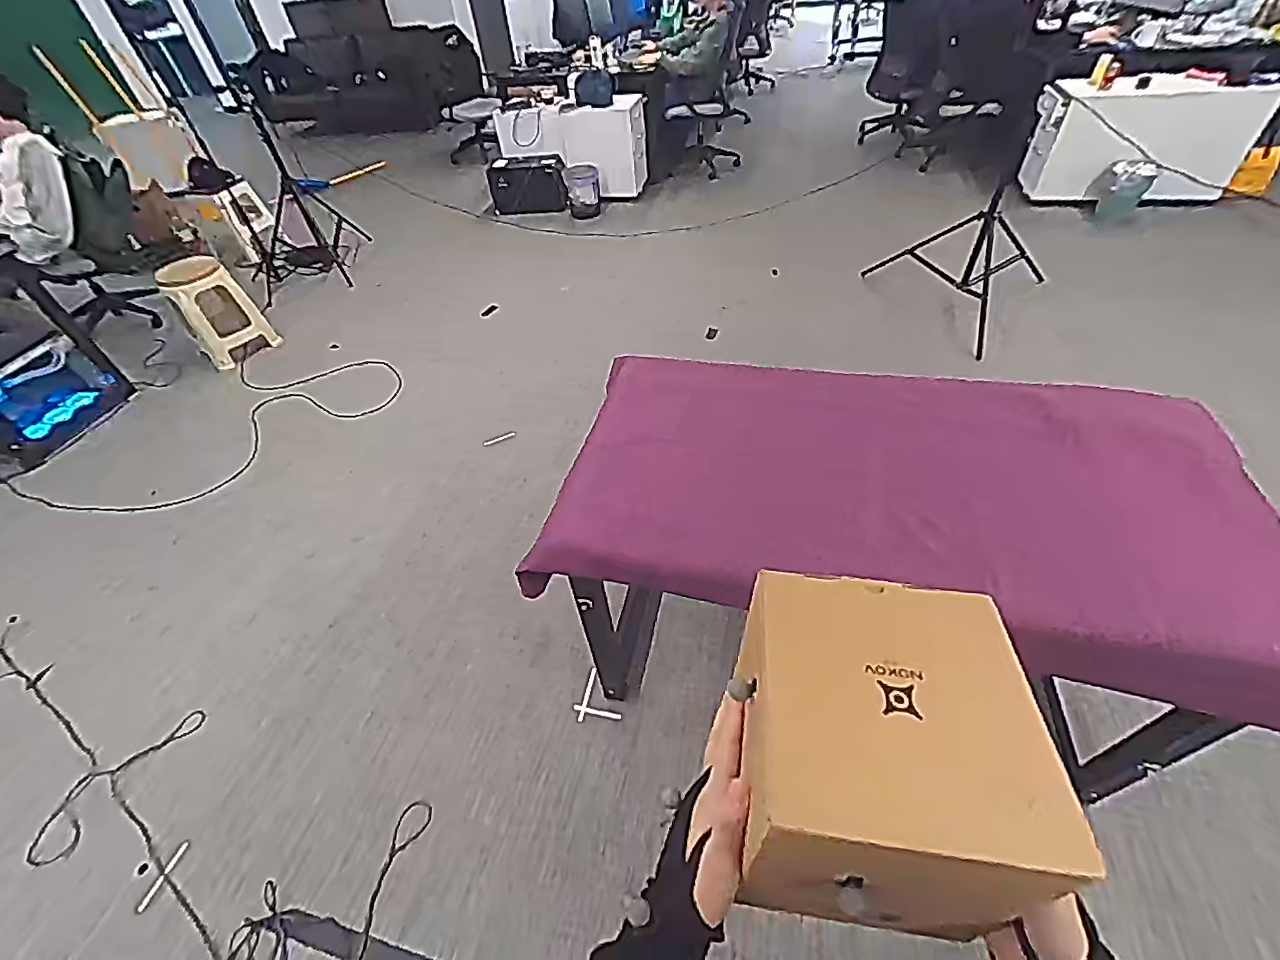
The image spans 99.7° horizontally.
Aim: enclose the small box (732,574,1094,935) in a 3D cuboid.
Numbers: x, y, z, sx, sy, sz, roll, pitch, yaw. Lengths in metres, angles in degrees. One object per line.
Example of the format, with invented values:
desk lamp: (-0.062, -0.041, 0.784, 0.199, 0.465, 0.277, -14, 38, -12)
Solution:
small box: (0.161, 0.196, 0.393, 0.168, 0.176, 0.179, 6, 40, 6)
